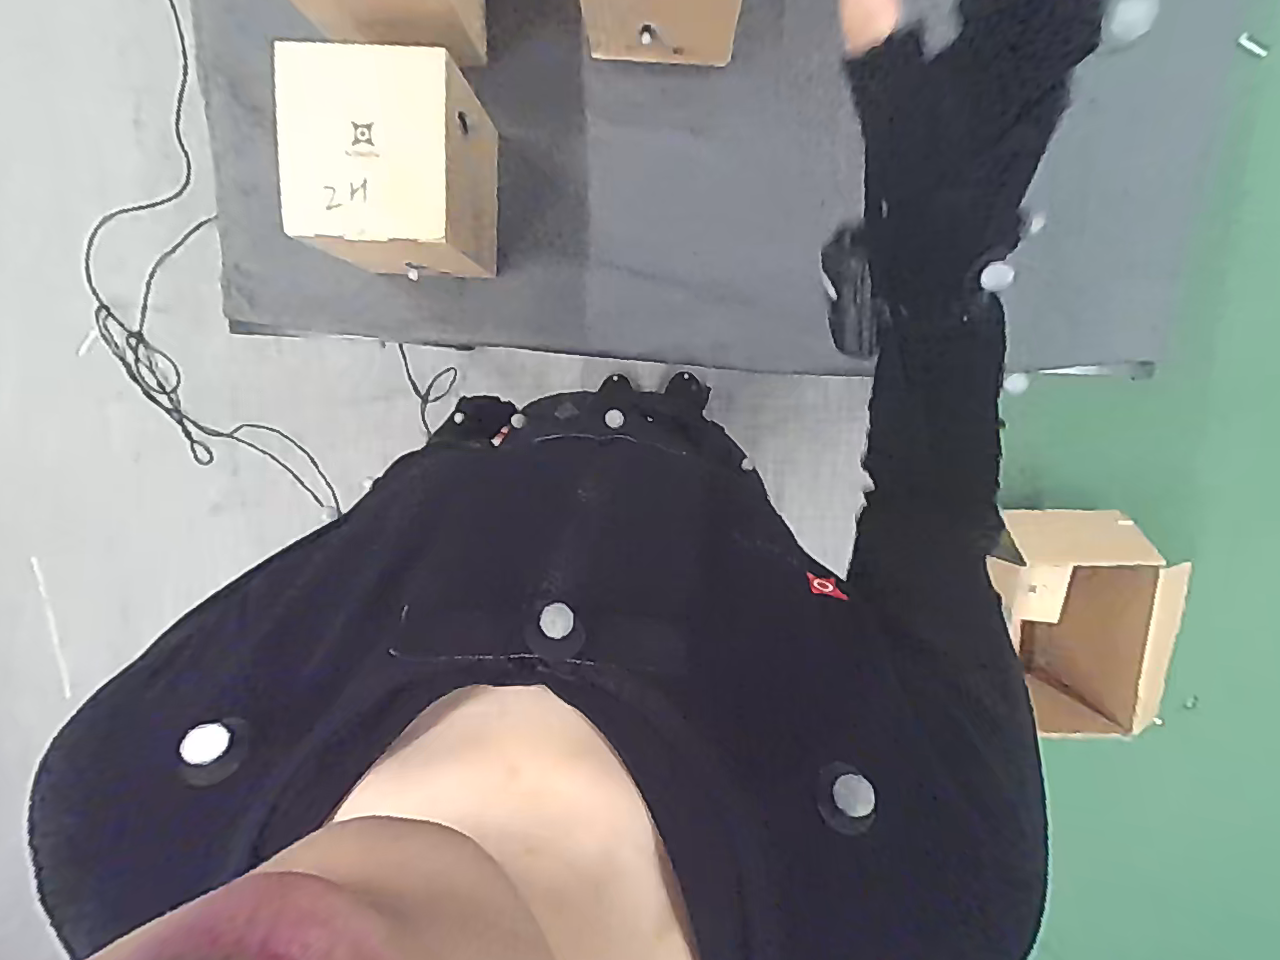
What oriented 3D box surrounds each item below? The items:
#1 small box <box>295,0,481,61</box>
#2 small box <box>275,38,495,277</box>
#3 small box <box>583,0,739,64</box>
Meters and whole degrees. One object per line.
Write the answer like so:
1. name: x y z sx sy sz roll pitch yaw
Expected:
1. small box: -0.269 -0.570 0.555 0.168 0.176 0.179 1 101 1
2. small box: -0.265 -0.337 0.599 0.168 0.176 0.179 3 100 1
3. small box: 0.024 -0.572 0.550 0.168 0.176 0.179 4 102 1
